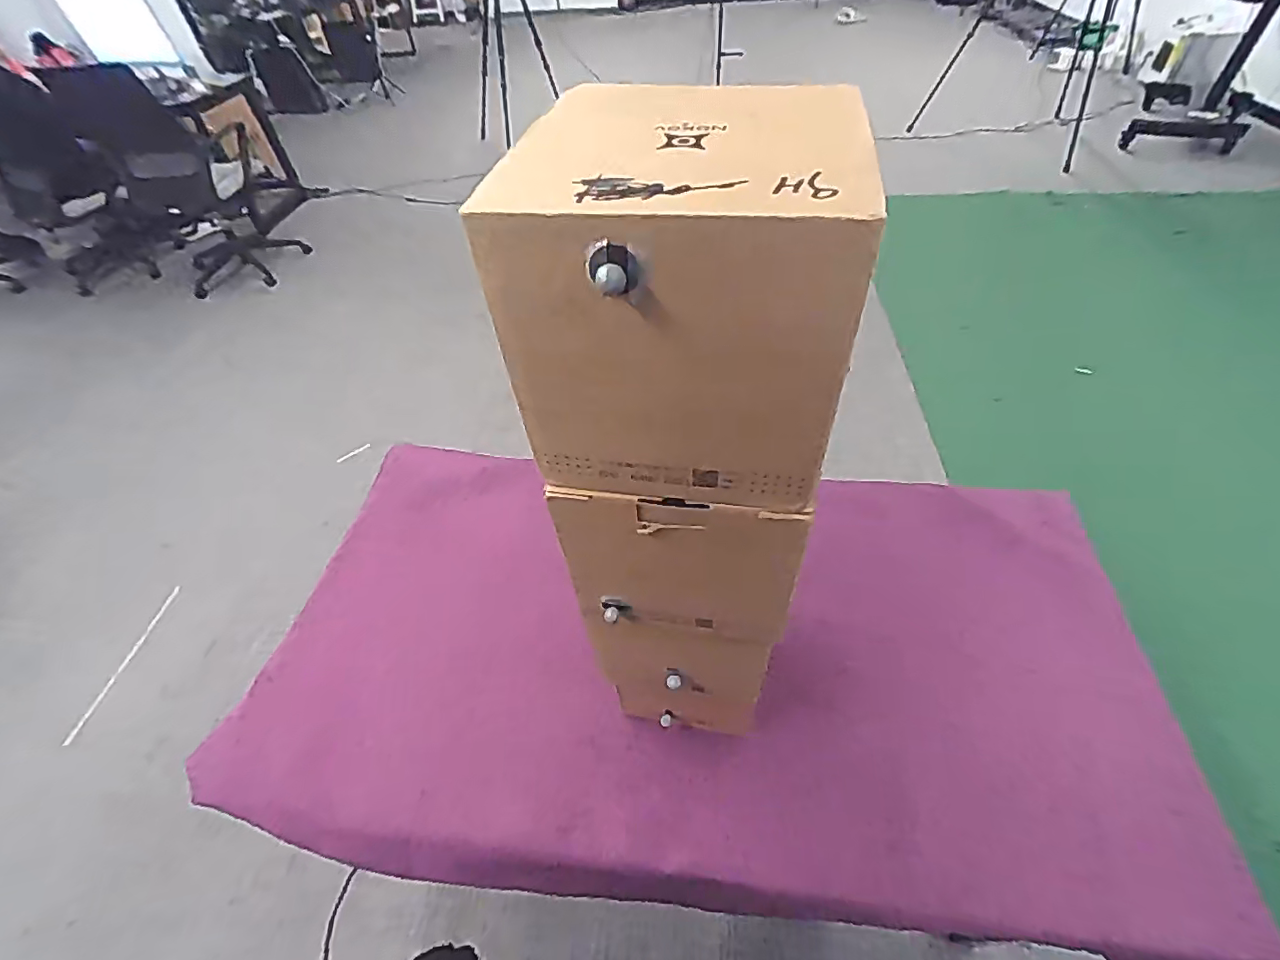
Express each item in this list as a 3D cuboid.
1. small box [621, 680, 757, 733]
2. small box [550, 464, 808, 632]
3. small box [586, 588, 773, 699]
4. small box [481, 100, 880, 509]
[{"bbox_3d":[0.068,0.203,0.705,0.168,0.176,0.179,6,50,11],"label":"small box"},{"bbox_3d":[0.042,0.005,0.445,0.168,0.176,0.179,5,48,10],"label":"small box"},{"bbox_3d":[0.051,0.106,0.574,0.168,0.176,0.179,4,49,10],"label":"small box"},{"bbox_3d":[0.032,-0.108,0.326,0.168,0.176,0.179,6,48,11],"label":"small box"}]
